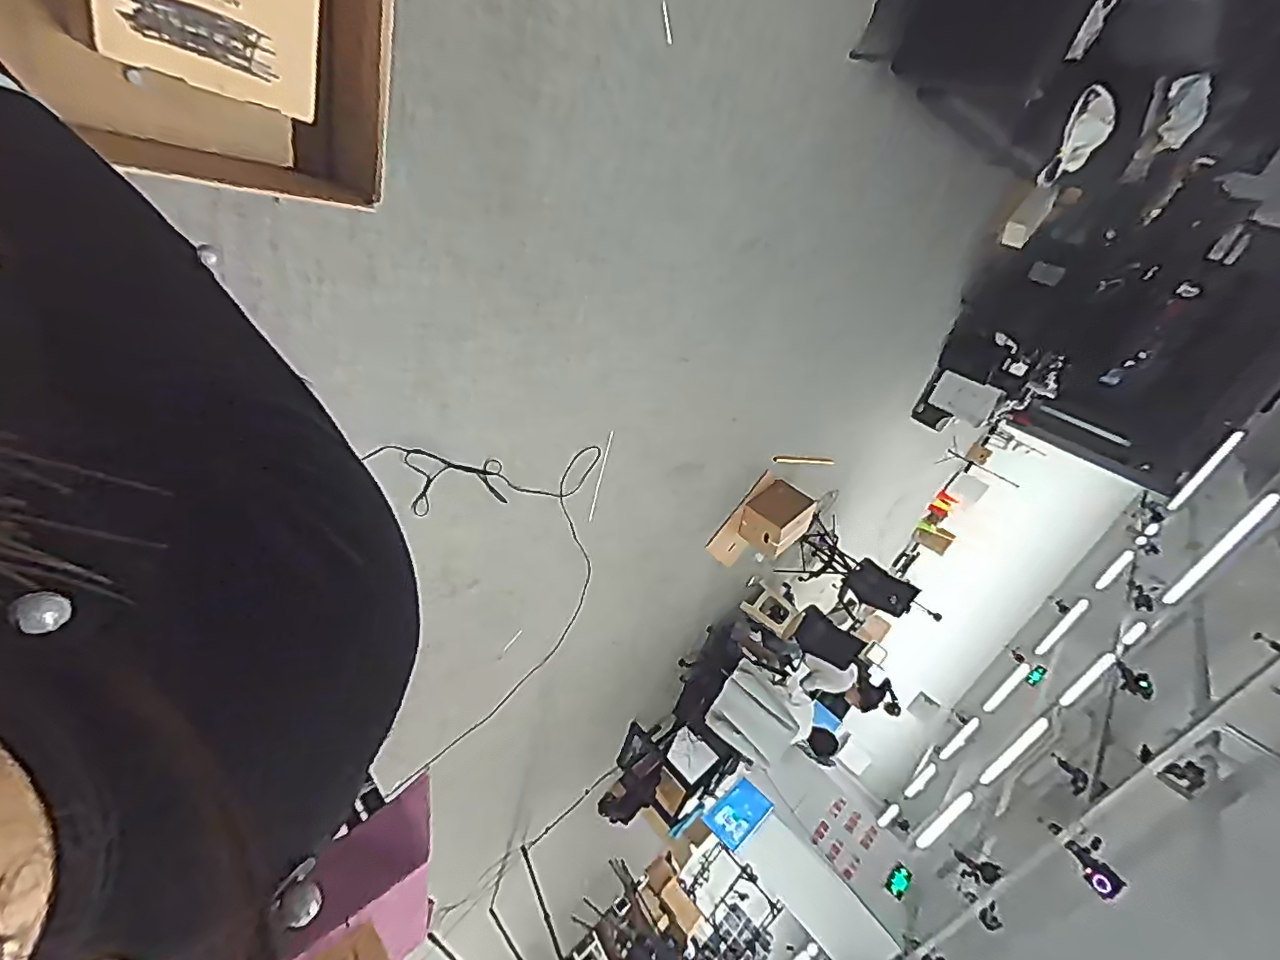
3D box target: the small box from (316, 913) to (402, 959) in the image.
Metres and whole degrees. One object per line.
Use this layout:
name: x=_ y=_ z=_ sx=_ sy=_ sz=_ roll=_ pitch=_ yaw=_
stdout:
small box: x=-0.733 y=1.298 z=1.416 sx=0.179 sy=0.176 sz=0.168 roll=-17 pitch=134 yaw=-42
